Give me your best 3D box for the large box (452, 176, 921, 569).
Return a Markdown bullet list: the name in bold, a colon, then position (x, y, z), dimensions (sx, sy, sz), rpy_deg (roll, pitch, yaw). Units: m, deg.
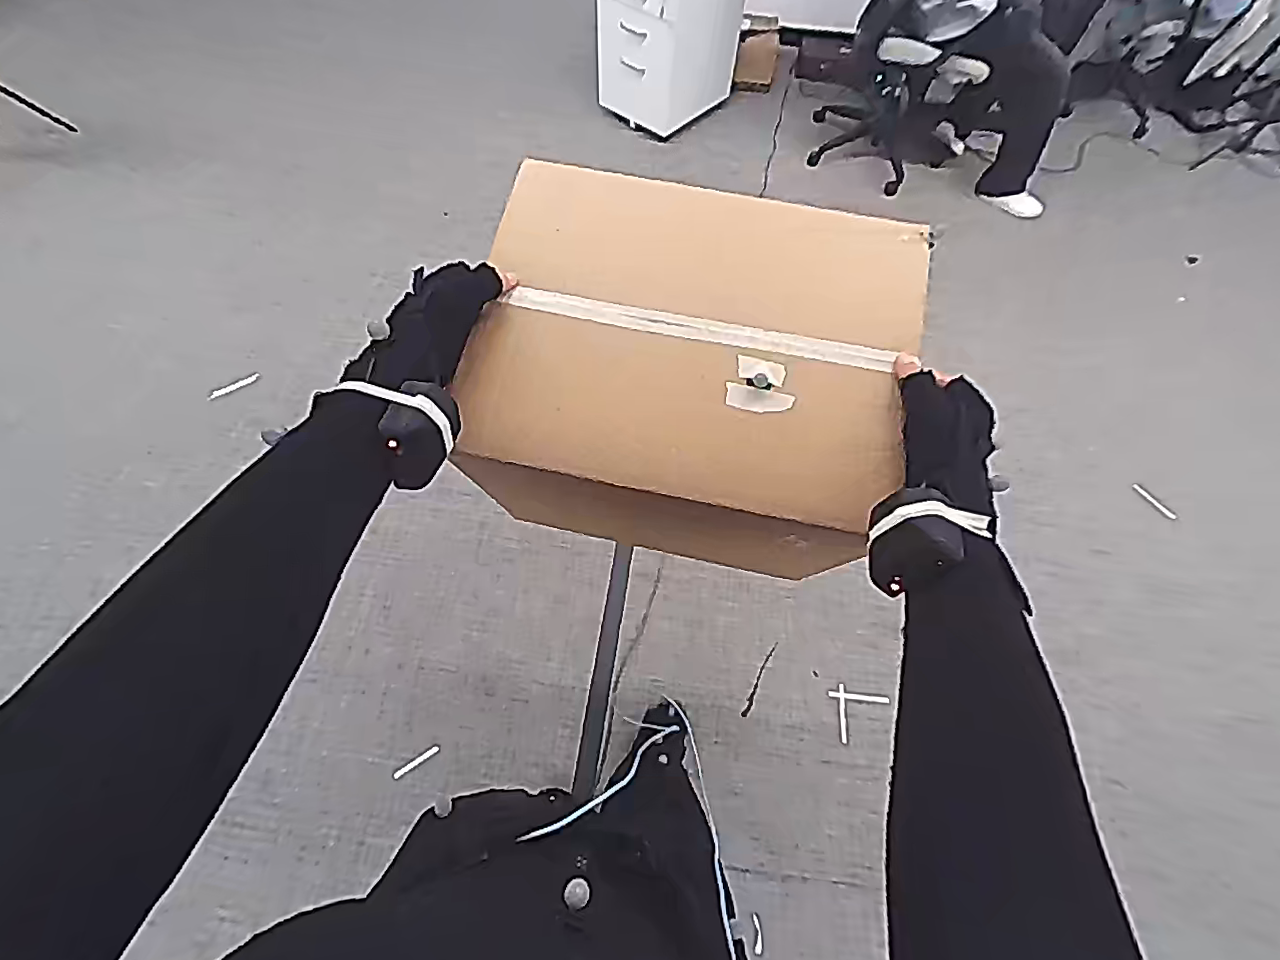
- **large box**: position (0.054, -0.096, 0.651), dimensions (0.408, 0.320, 0.320), rpy_deg (12, 76, 4)
